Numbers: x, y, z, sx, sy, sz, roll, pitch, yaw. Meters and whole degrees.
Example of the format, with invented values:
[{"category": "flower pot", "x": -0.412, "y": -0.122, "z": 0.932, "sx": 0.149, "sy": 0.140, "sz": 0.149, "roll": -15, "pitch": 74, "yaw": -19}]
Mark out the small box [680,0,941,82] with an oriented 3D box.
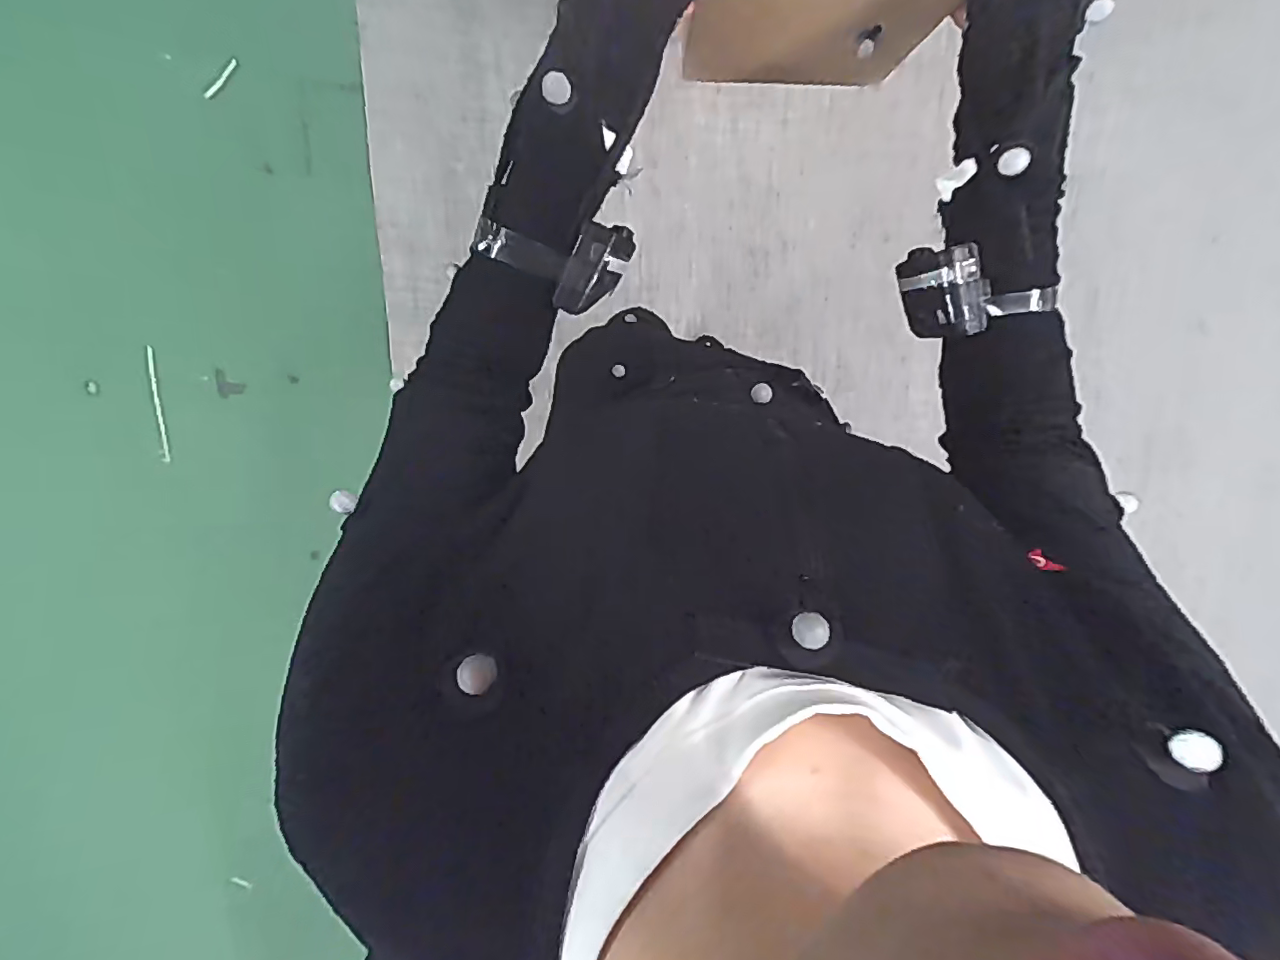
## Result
[{"category": "small box", "x": 0.122, "y": -0.408, "z": 0.376, "sx": 0.179, "sy": 0.176, "sz": 0.168, "roll": 1, "pitch": 104, "yaw": 1}]
